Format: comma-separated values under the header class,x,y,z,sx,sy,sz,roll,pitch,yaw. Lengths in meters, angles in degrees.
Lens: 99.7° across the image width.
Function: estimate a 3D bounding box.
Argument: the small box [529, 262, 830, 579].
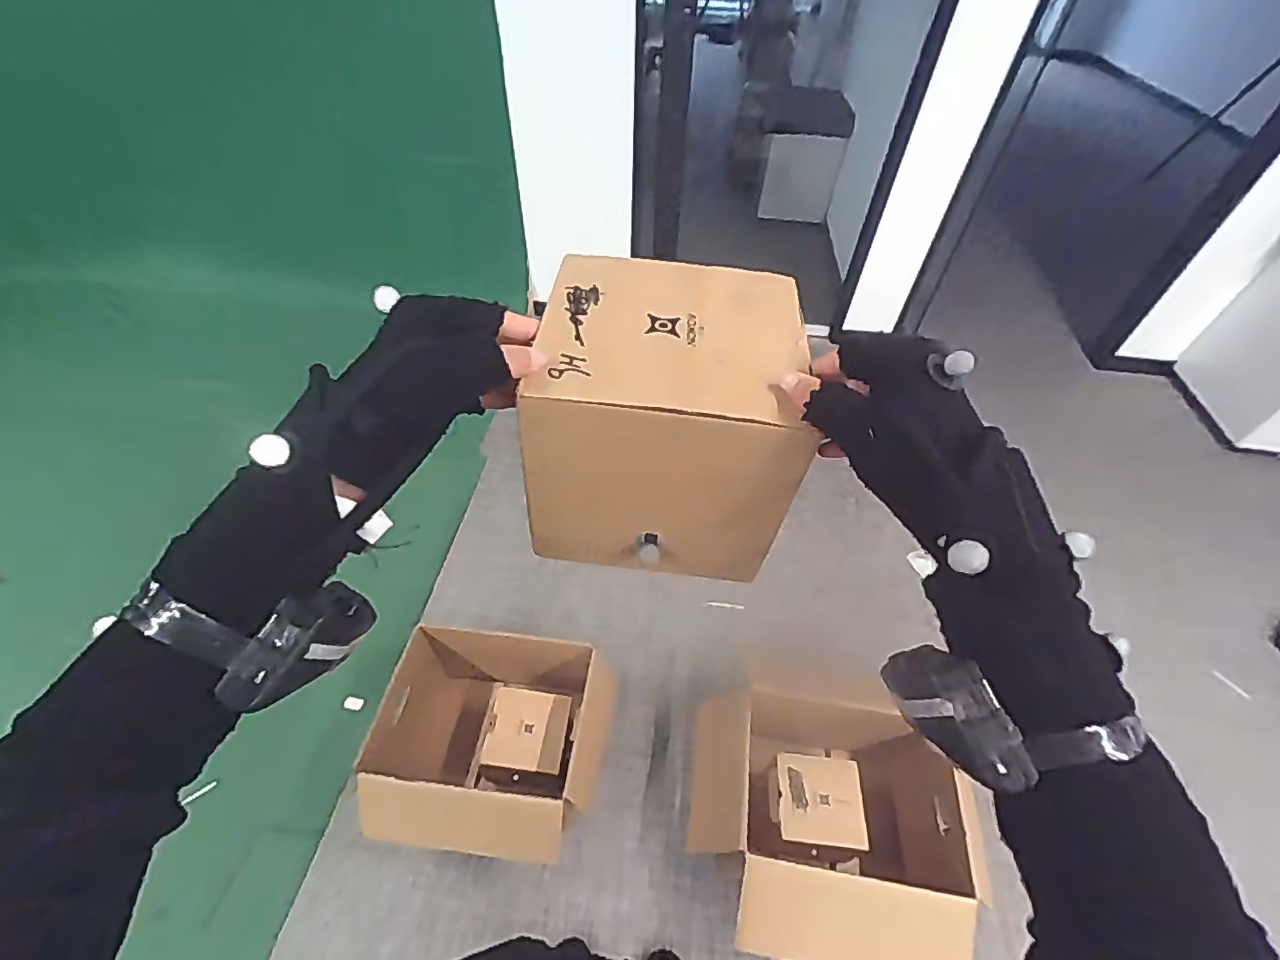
class,x,y,z,sx,sy,sz,roll,pitch,yaw
small box,0.021,-0.039,0.417,0.179,0.176,0.168,6,49,-2
